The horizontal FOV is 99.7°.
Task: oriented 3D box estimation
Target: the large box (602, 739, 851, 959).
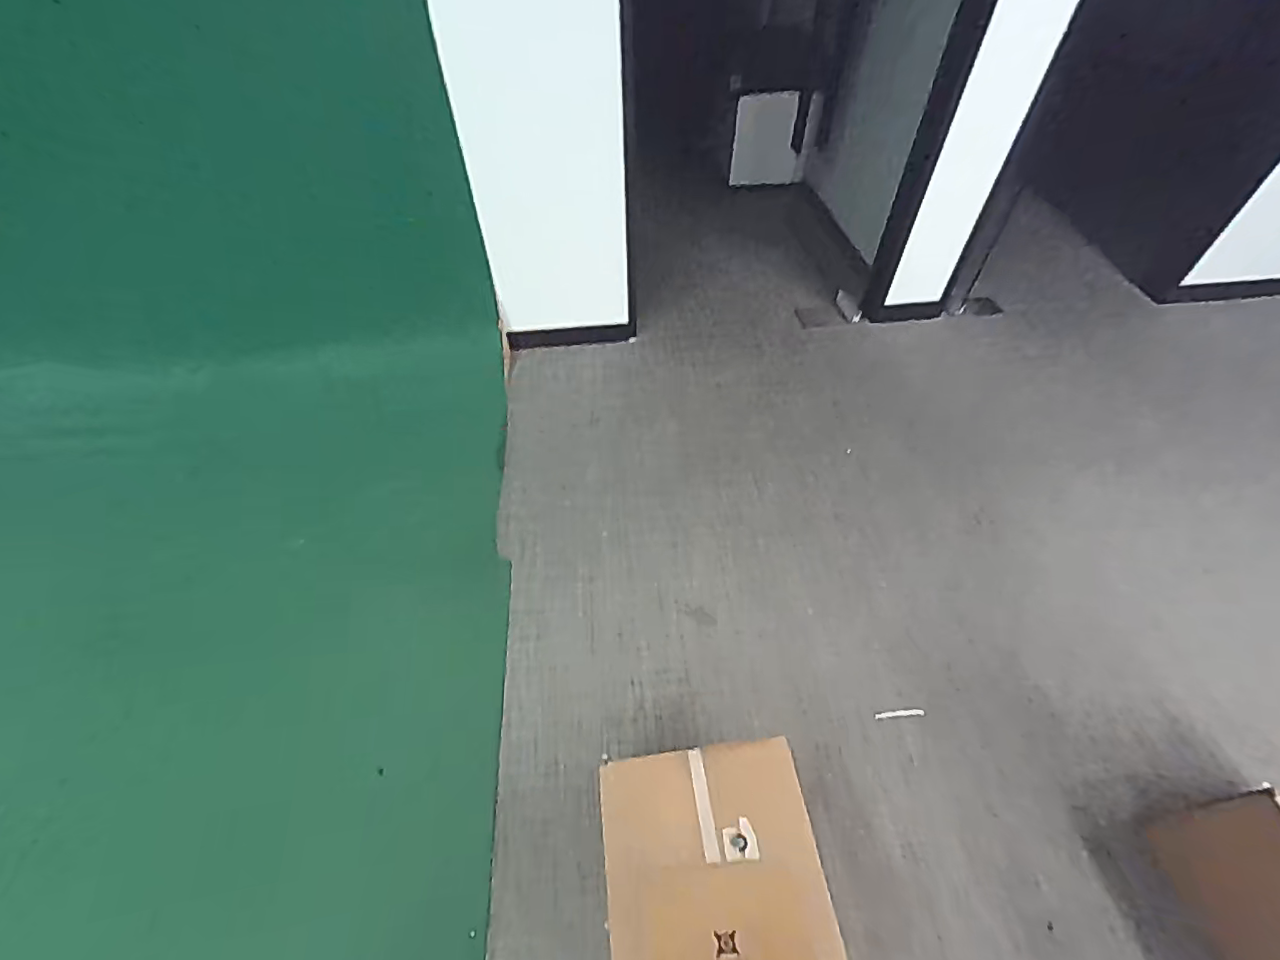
[{"bbox_3d":[0.123,0.690,0.865,0.320,0.320,0.408,-6,49,-3],"label":"large box"}]
